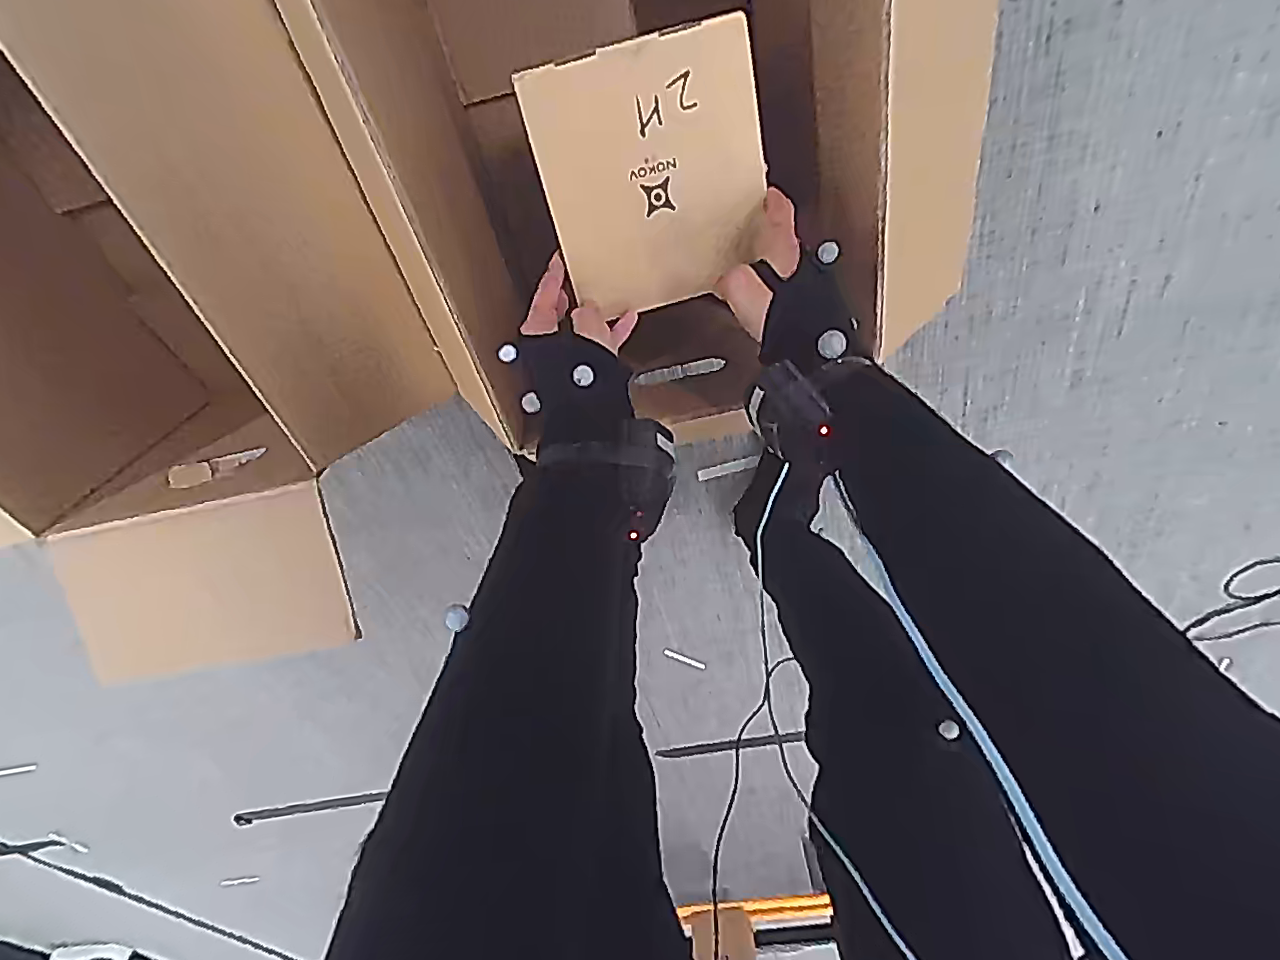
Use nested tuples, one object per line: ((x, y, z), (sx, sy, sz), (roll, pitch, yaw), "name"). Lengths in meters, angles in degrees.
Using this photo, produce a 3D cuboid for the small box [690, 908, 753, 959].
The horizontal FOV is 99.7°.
((0.266, 1.508, 1.745), (0.179, 0.176, 0.168), (-13, 126, 11), "small box")
